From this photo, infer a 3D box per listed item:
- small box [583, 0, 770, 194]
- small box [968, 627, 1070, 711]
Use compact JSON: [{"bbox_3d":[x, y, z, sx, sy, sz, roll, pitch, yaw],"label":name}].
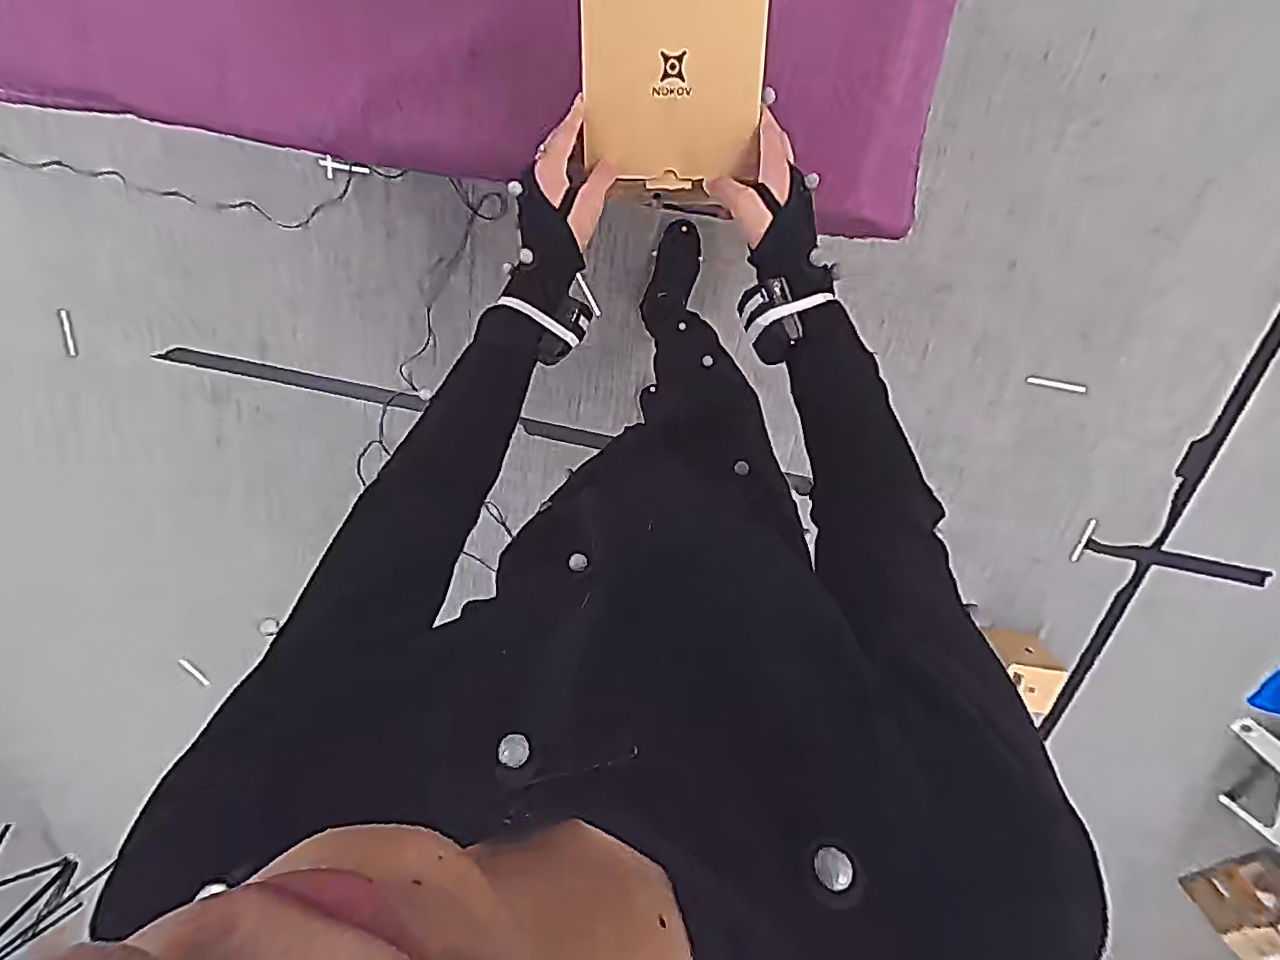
[{"bbox_3d":[0.033,-0.405,0.557,0.168,0.176,0.179,2,112,3],"label":"small box"},{"bbox_3d":[1.156,0.575,1.667,0.179,0.176,0.168,9,113,2],"label":"small box"}]
